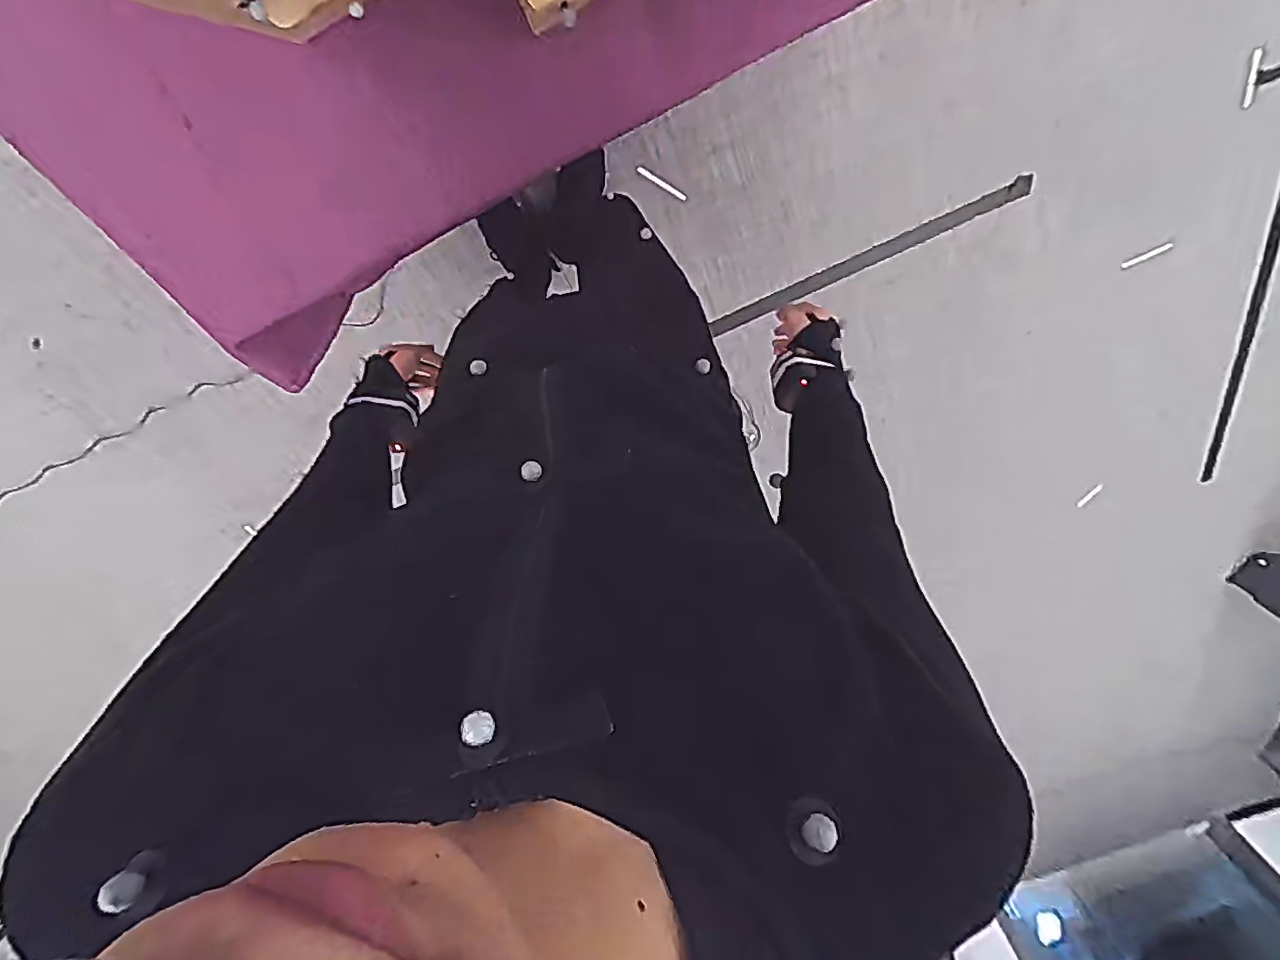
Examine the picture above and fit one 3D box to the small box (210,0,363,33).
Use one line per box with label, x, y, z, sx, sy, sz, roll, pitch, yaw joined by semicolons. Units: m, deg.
small box;-0.306;-0.509;0.438;0.168;0.176;0.179;-24;125;7
